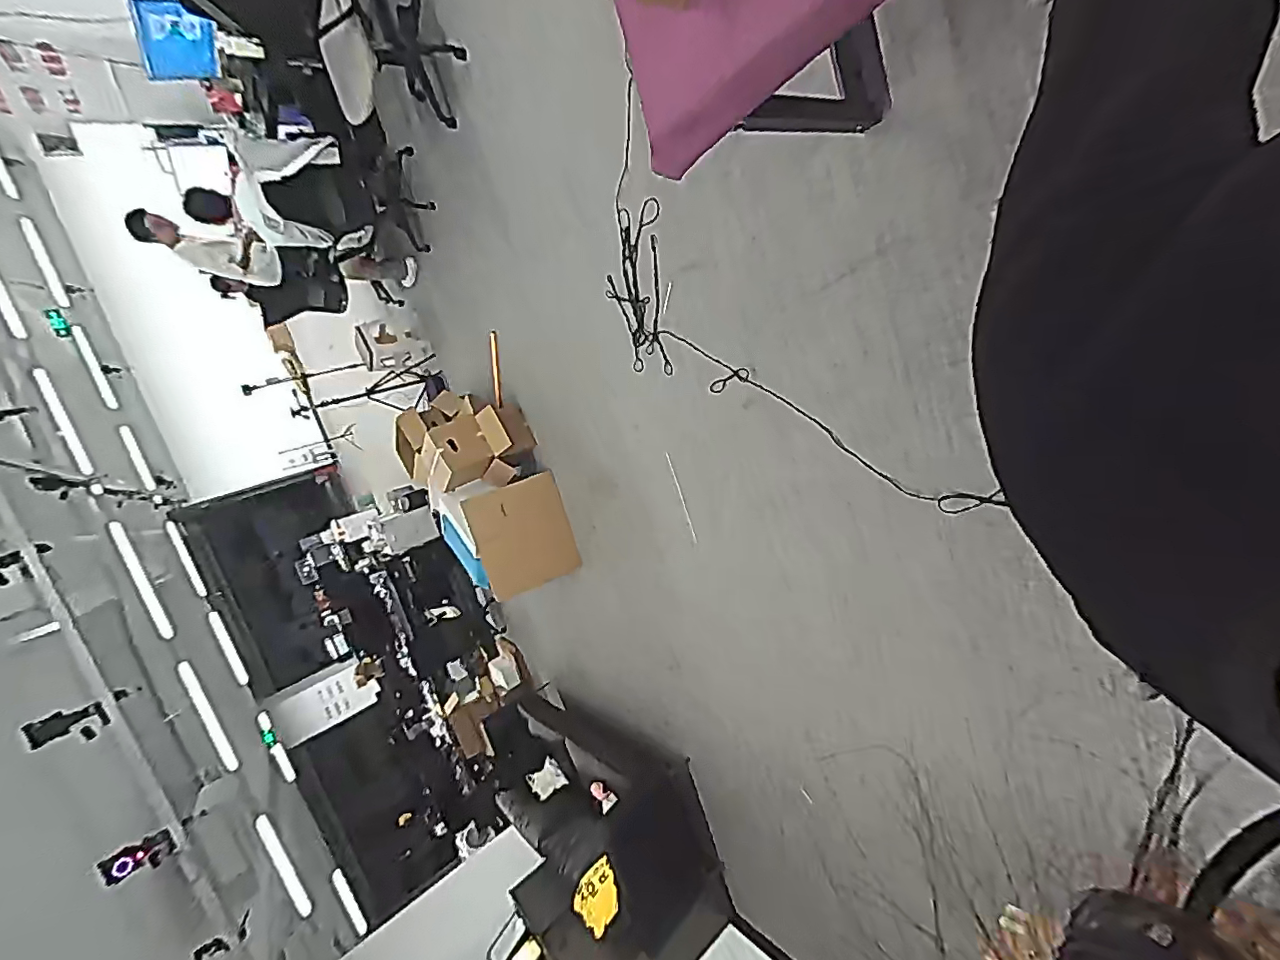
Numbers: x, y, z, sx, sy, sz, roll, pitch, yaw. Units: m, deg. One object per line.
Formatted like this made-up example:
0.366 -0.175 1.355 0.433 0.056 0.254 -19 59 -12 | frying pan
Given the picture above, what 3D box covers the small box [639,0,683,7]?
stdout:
-0.012 -0.844 0.795 0.179 0.176 0.168 56 145 13 | small box
